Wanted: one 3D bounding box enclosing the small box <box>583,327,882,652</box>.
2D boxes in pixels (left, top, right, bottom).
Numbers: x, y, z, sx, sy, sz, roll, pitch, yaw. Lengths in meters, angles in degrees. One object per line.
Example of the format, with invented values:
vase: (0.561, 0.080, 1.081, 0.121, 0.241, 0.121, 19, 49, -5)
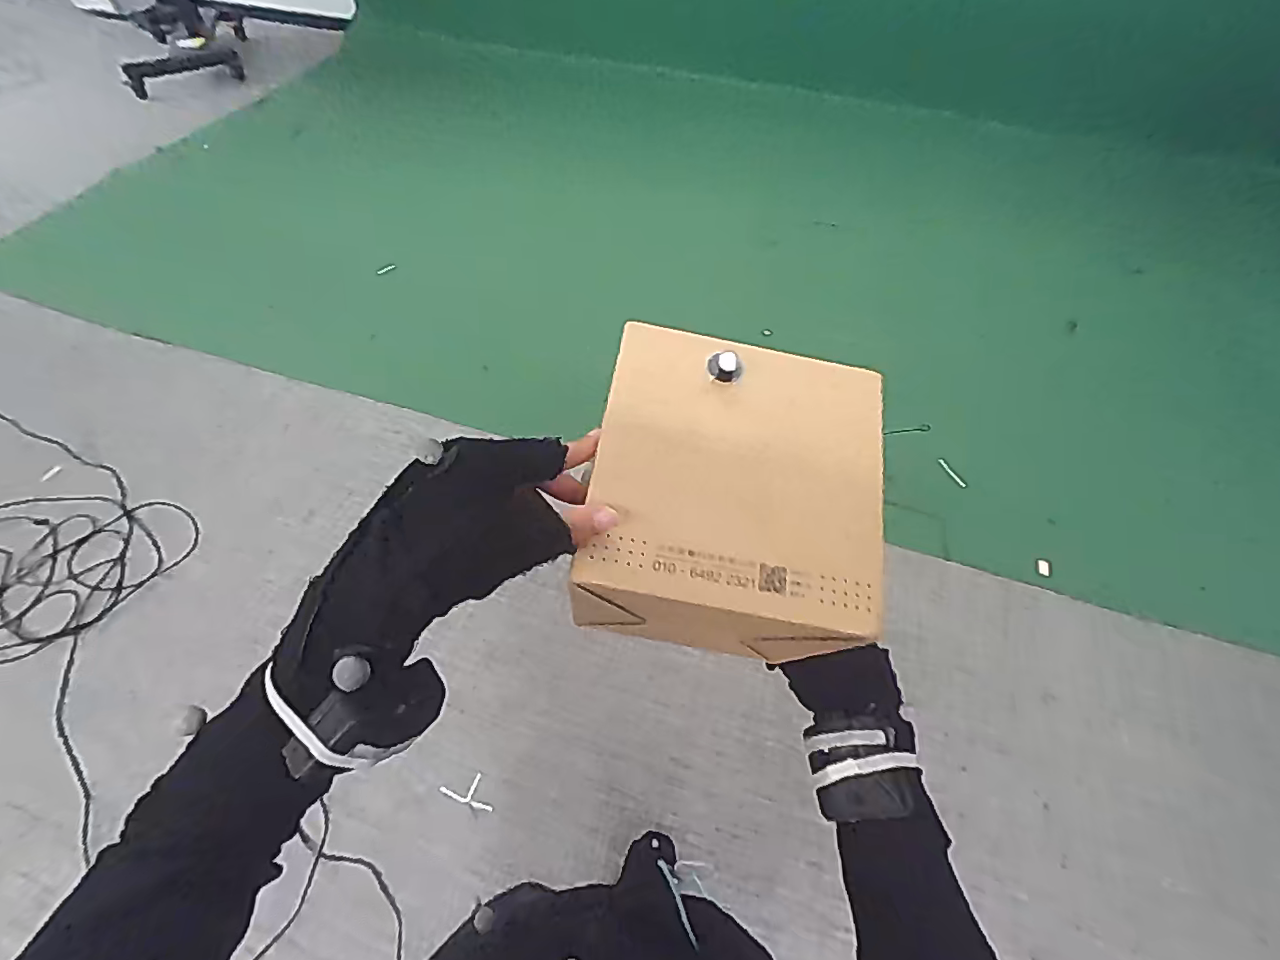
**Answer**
small box: (0.054, 0.024, 0.394, 0.168, 0.179, 0.176, 11, 67, -2)
